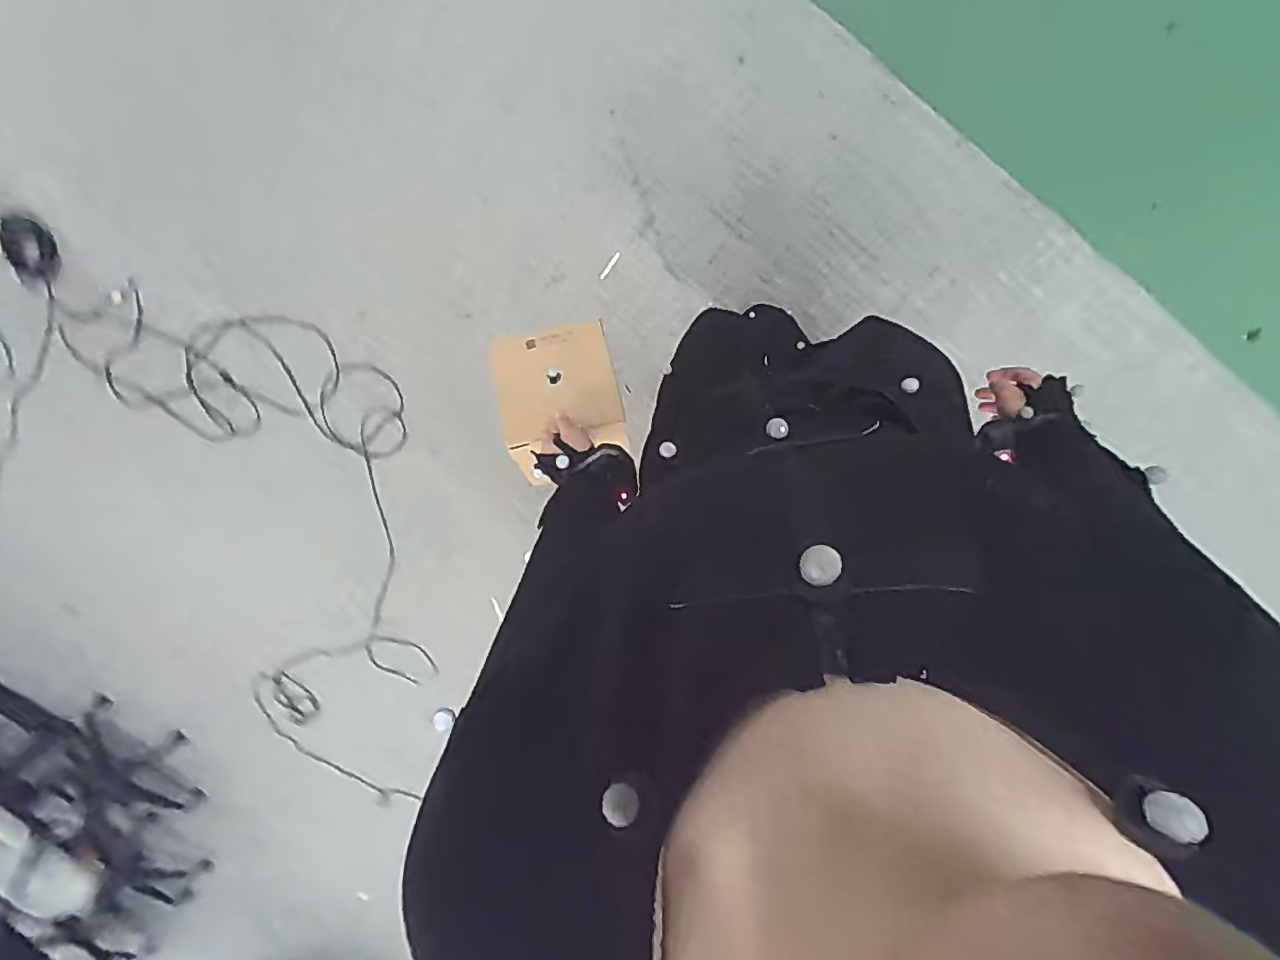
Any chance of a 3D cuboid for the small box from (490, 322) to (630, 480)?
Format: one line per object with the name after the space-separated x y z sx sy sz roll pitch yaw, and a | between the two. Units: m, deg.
-0.116 -0.121 0.823 0.168 0.179 0.176 -15 73 -3 | small box
